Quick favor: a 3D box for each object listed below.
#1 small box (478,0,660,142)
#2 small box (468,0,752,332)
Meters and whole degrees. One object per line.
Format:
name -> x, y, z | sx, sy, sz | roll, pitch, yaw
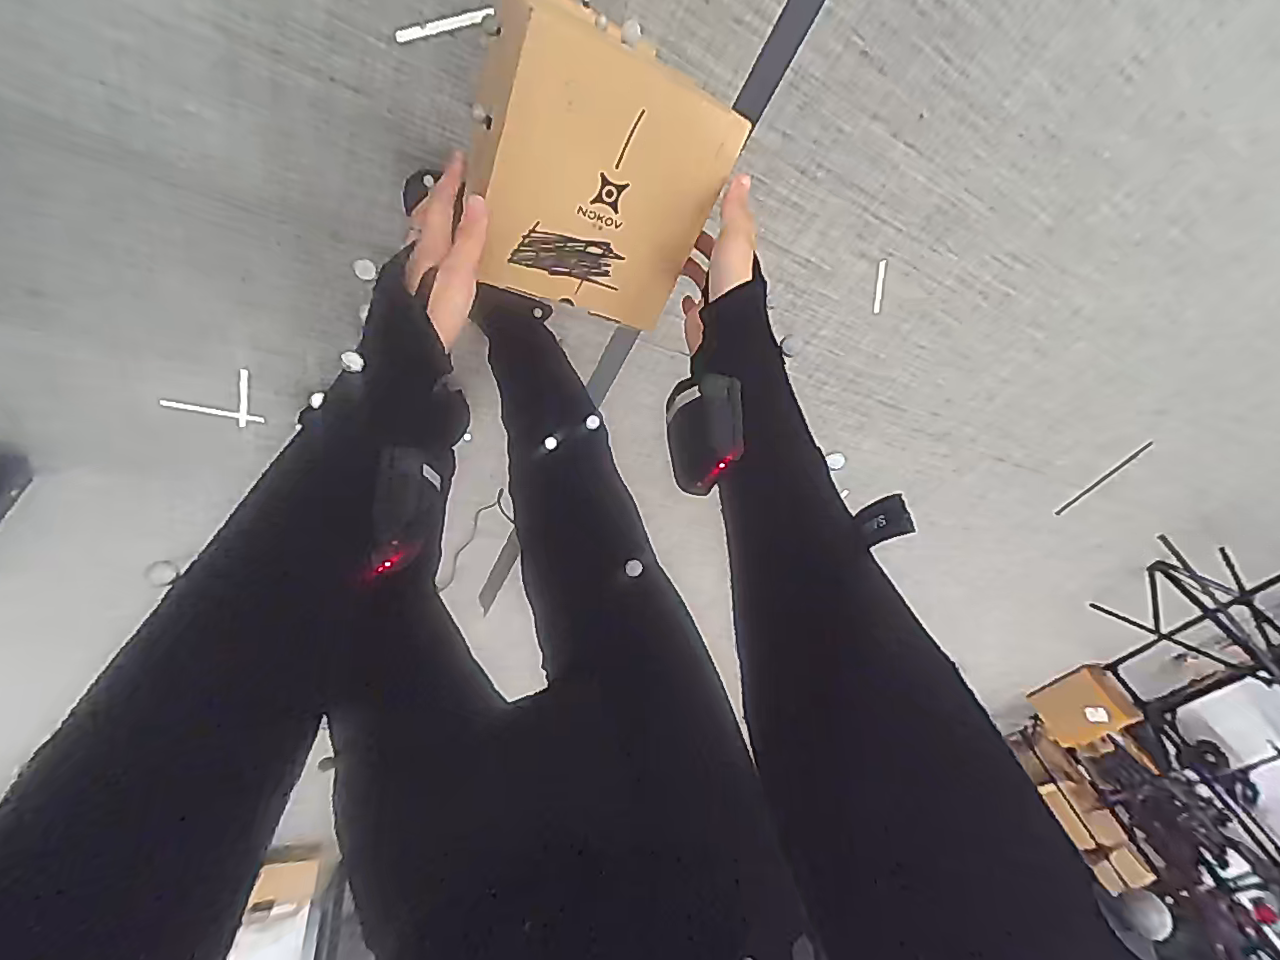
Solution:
small box -> -0.102, -0.495, 0.676 | 0.168, 0.176, 0.179 | 11, 131, -27
small box -> -0.041, -0.260, 0.453 | 0.168, 0.176, 0.179 | 9, 131, -27
